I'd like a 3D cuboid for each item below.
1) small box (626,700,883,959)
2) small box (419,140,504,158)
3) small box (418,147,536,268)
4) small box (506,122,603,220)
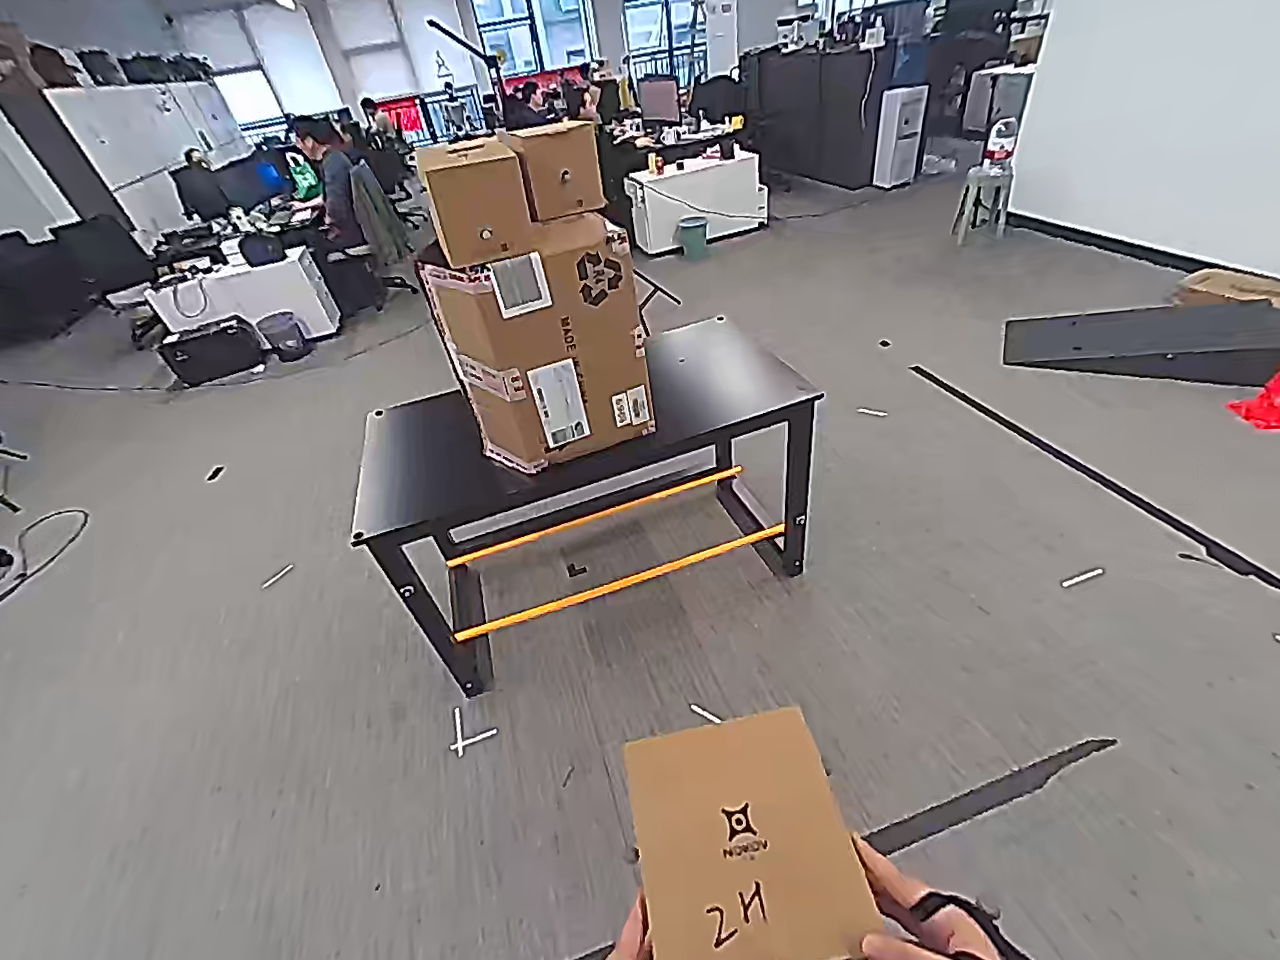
[{"bbox_3d":[0.086,0.331,0.489,0.168,0.176,0.179,-11,45,-2],"label":"small box"},{"bbox_3d":[-0.382,-0.656,1.222,0.168,0.176,0.179,-21,39,-14],"label":"small box"},{"bbox_3d":[-0.314,-0.527,1.045,0.168,0.176,0.179,-19,42,-14],"label":"small box"},{"bbox_3d":[-0.196,-0.717,1.259,0.168,0.176,0.179,-19,40,-14],"label":"small box"}]
